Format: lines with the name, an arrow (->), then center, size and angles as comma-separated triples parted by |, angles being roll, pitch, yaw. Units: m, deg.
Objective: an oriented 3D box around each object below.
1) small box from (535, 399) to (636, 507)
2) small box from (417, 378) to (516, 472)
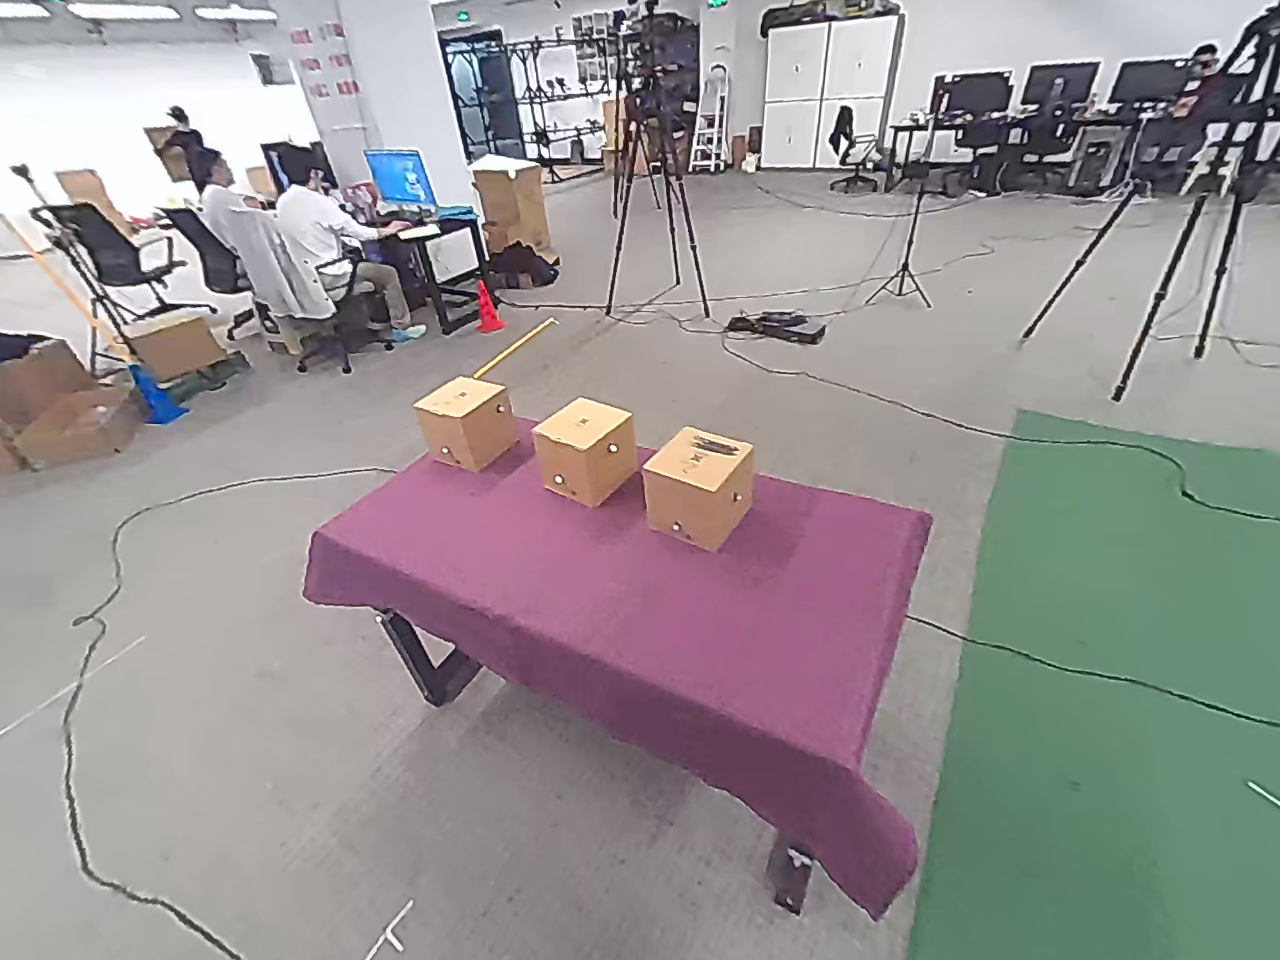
small box -> -0.123, -0.067, 1.295 | 0.168, 0.176, 0.179 | 21, 46, 31
small box -> -0.451, -0.148, 1.441 | 0.168, 0.176, 0.179 | 15, 42, 26
